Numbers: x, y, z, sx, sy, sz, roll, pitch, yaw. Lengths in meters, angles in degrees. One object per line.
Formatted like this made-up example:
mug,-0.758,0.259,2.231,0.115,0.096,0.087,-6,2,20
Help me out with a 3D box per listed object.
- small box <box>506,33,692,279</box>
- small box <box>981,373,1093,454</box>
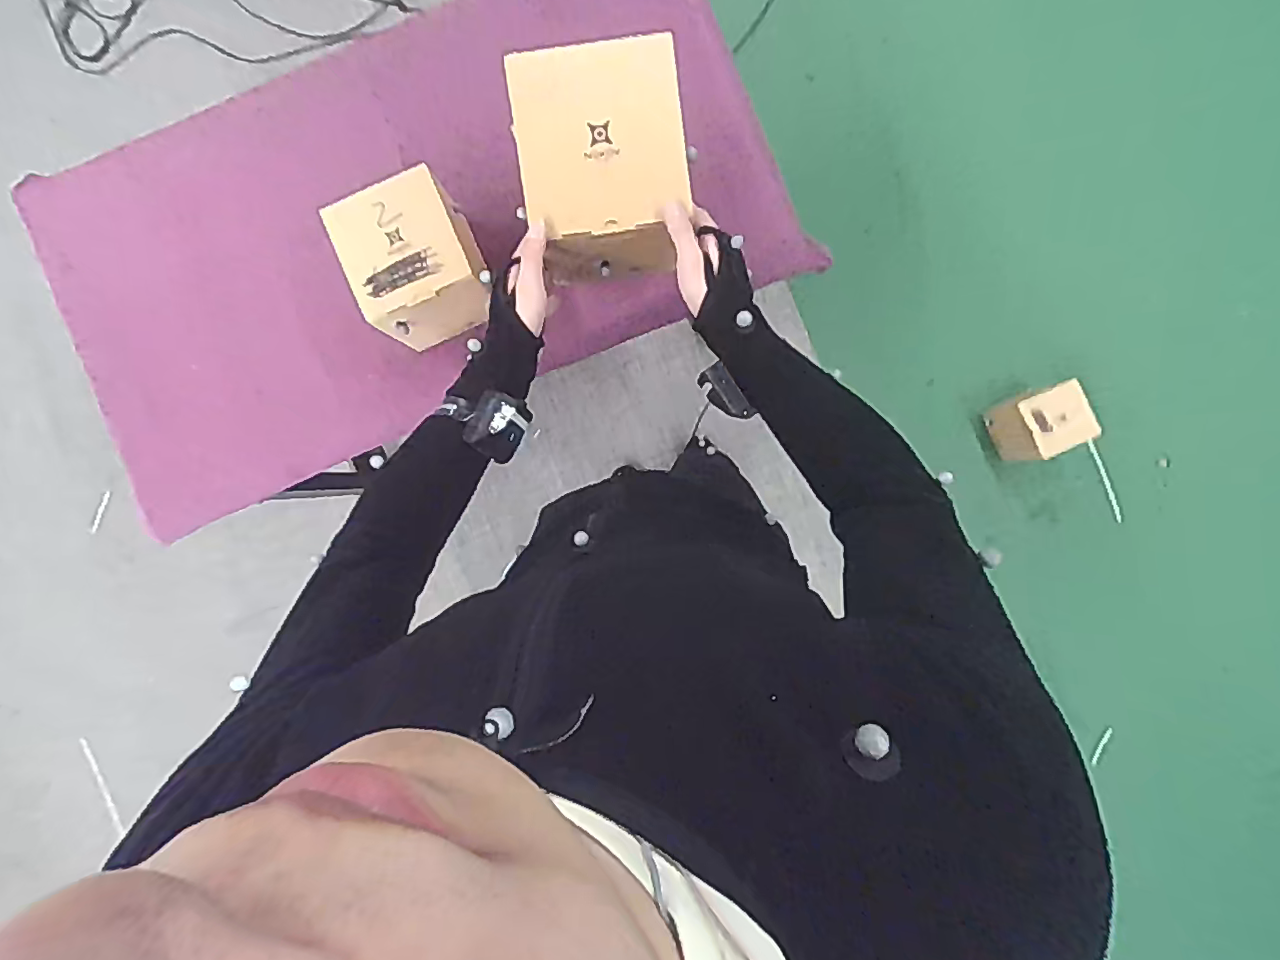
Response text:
small box,-0.041,-0.343,0.605,0.168,0.176,0.179,-8,98,0
small box,1.112,-0.180,1.535,0.179,0.176,0.168,-25,90,0
